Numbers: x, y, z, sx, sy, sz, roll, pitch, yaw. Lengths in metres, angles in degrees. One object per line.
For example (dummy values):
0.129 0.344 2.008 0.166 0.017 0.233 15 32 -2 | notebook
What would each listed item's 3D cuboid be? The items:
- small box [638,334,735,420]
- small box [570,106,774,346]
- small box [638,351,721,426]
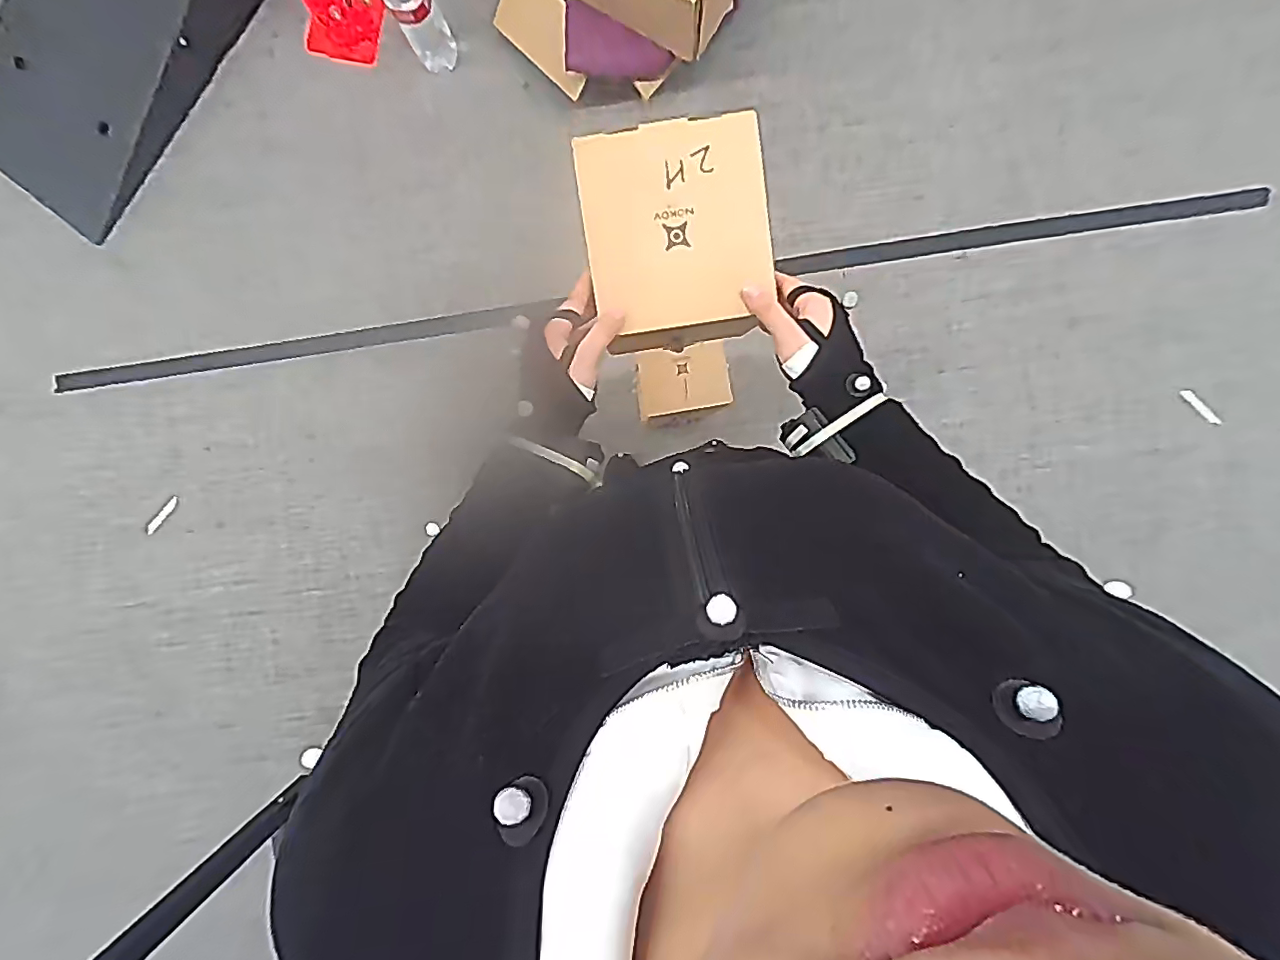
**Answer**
0.086 -0.221 1.080 0.168 0.176 0.179 -9 93 3 | small box
0.032 -0.239 0.560 0.168 0.176 0.179 -9 97 1 | small box
0.087 -0.228 1.245 0.168 0.176 0.179 -9 91 3 | small box
